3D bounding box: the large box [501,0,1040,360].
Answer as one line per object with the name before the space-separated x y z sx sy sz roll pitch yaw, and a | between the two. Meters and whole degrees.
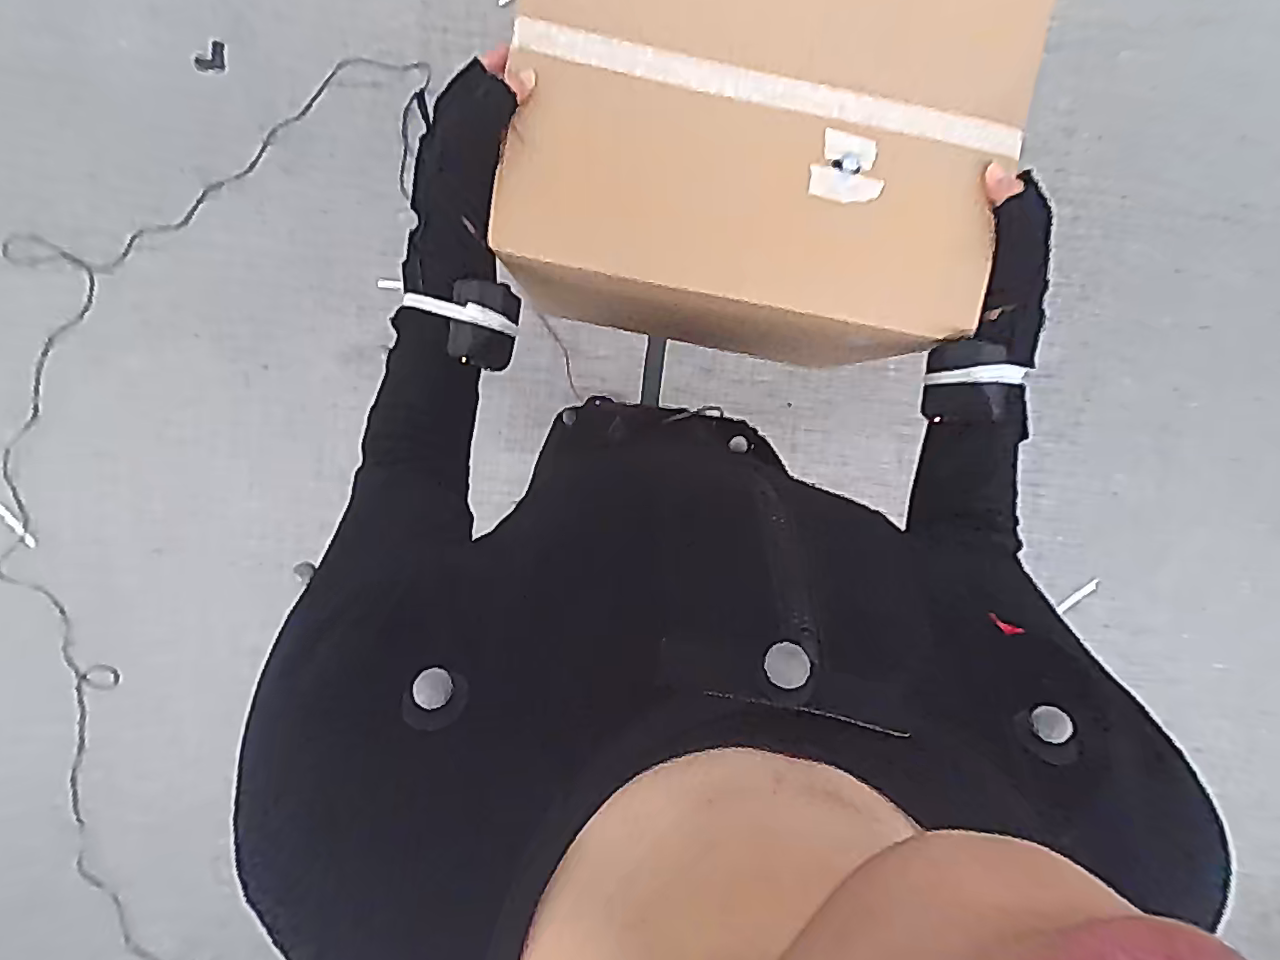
large box | 0.095 -0.327 0.578 0.408 0.320 0.320 10 98 -5
